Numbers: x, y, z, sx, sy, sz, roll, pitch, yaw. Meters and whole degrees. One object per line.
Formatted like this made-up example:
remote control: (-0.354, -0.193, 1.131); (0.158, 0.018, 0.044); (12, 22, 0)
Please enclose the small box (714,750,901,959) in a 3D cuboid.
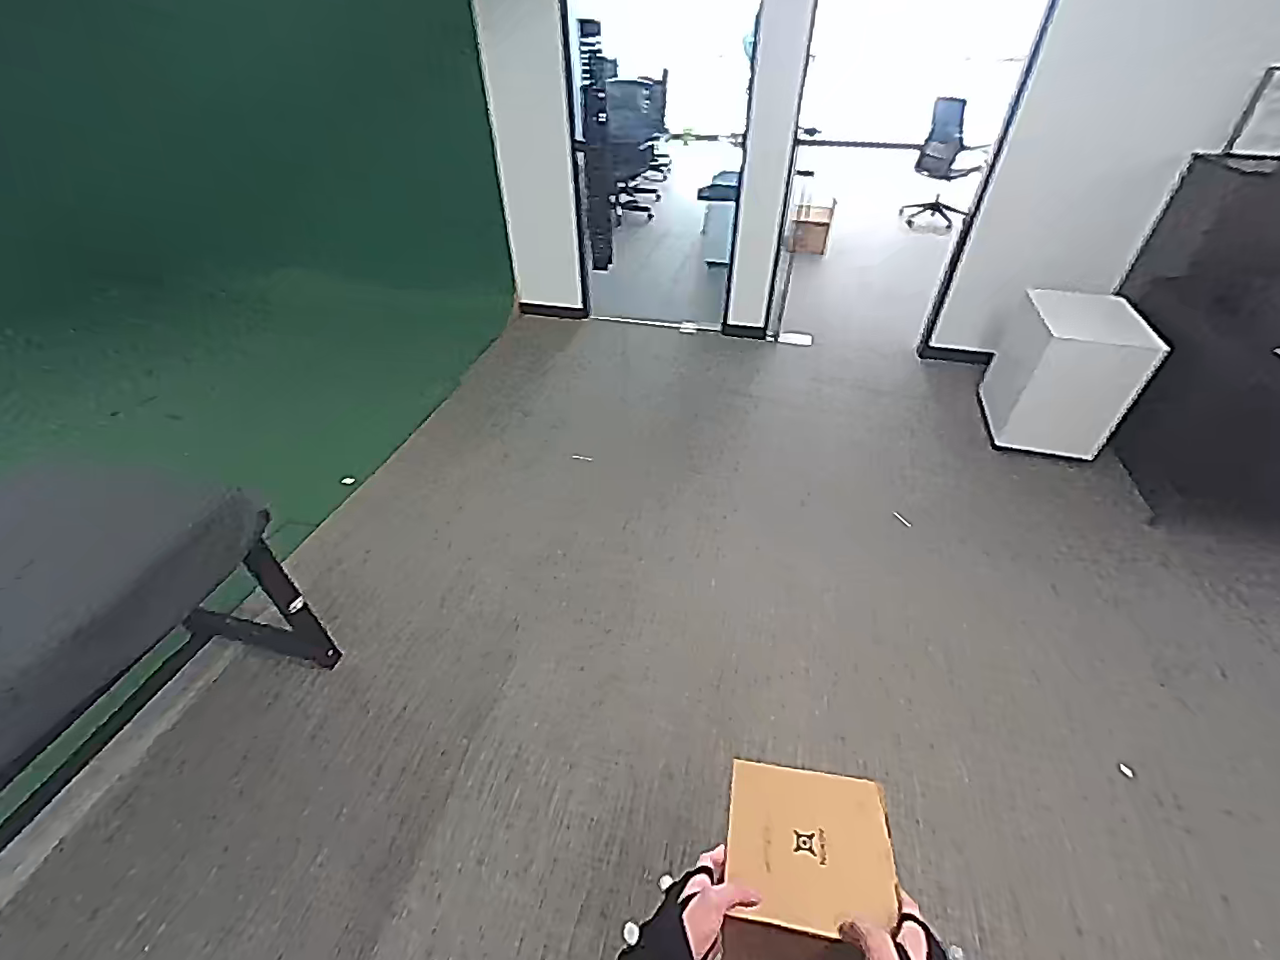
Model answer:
small box: (0.183, 0.452, 0.626); (0.179, 0.176, 0.168); (4, 30, 14)
